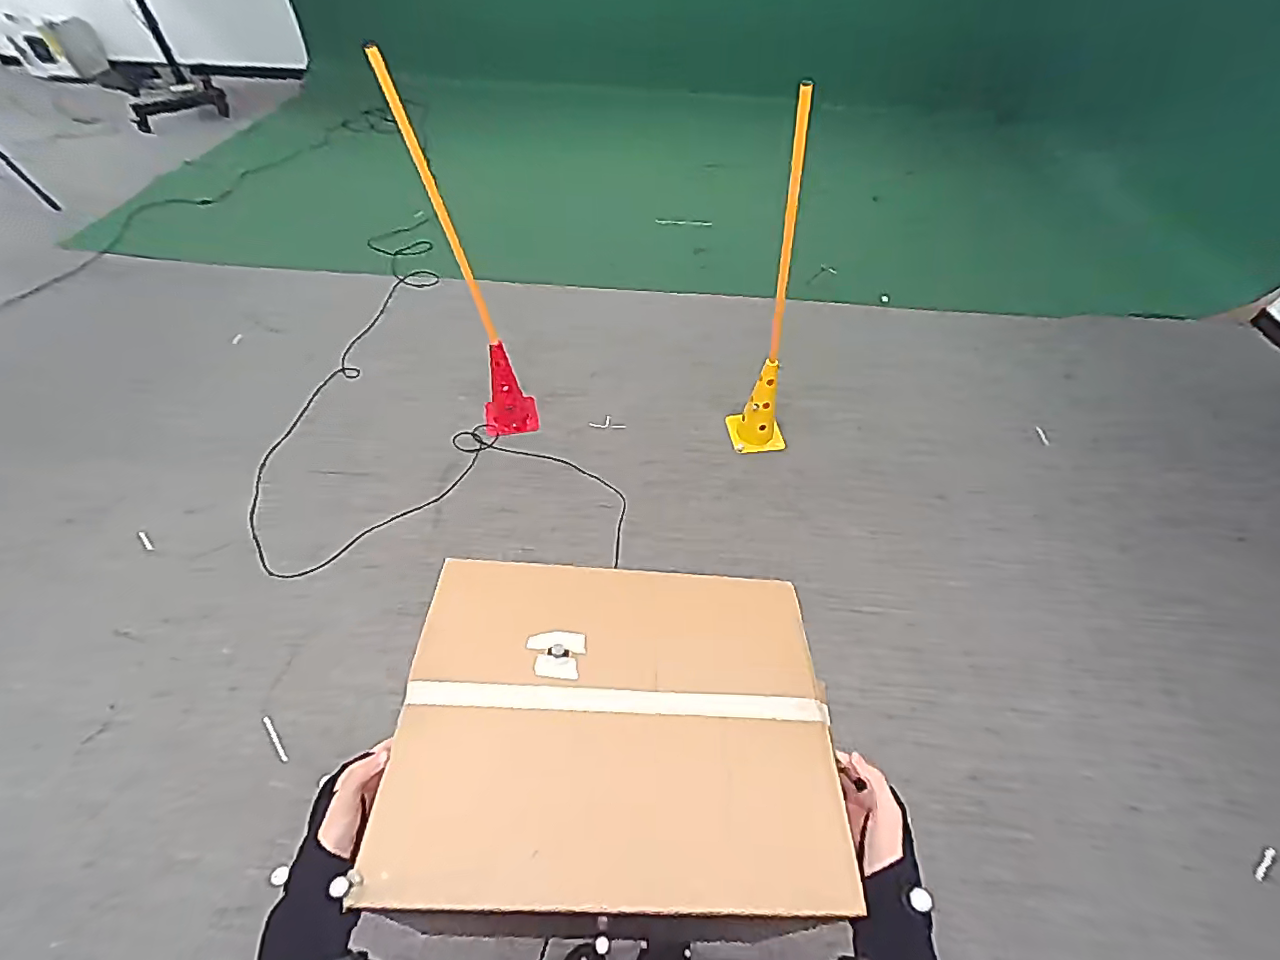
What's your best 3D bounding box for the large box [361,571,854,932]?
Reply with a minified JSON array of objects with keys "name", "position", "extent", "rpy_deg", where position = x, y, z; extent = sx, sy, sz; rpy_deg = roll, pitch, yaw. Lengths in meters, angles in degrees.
[{"name":"large box","position":[-0.032,0.328,0.638],"extent":[0.408,0.320,0.320],"rpy_deg":[4,46,-4]}]
